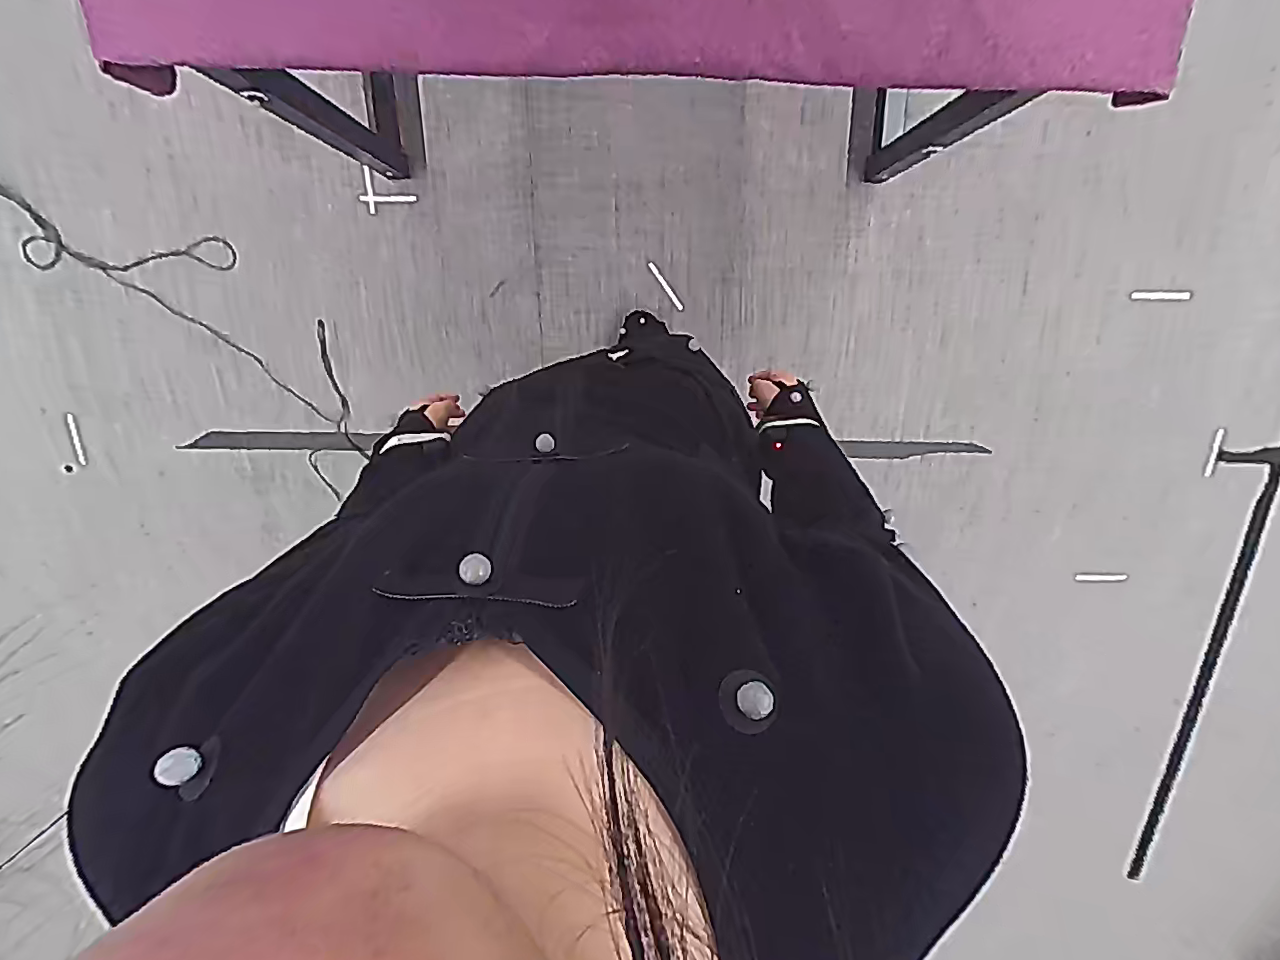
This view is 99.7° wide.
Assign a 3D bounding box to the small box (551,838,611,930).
[{"bbox_3d":[-0.189,1.331,1.786,0.168,0.176,0.179,-9,106,1],"label":"small box"}]
